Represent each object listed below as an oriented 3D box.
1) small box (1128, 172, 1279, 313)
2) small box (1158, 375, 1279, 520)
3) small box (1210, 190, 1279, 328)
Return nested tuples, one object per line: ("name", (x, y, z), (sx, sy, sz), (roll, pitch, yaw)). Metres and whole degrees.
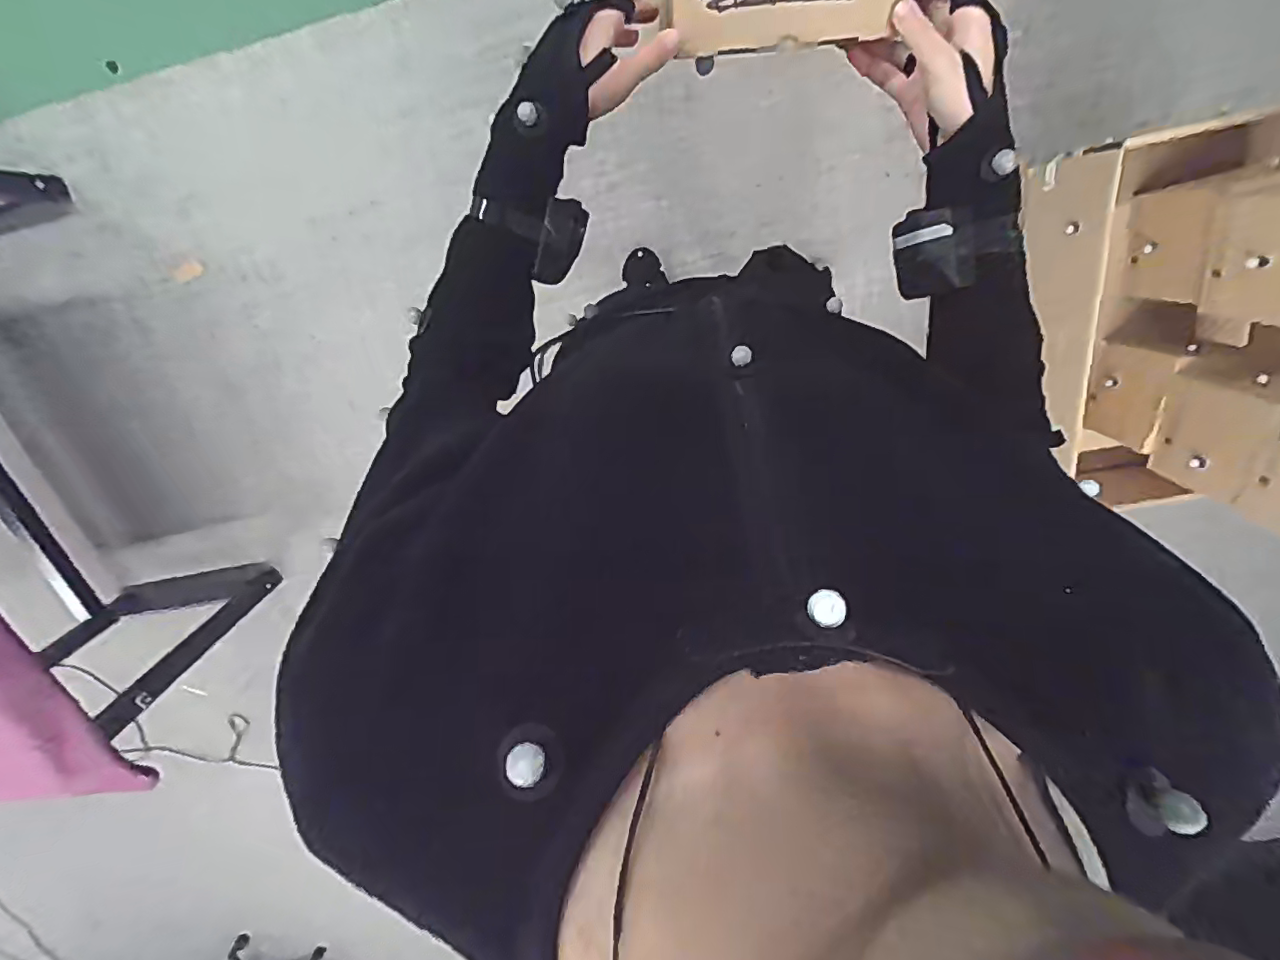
("small box", (0.926, -0.372, 0.842), (0.179, 0.176, 0.168), (-13, 112, 7))
("small box", (0.945, -0.054, 0.806), (0.179, 0.176, 0.168), (-4, 114, 4))
("small box", (0.909, -0.295, 0.697), (0.179, 0.176, 0.168), (-12, 114, 8))
